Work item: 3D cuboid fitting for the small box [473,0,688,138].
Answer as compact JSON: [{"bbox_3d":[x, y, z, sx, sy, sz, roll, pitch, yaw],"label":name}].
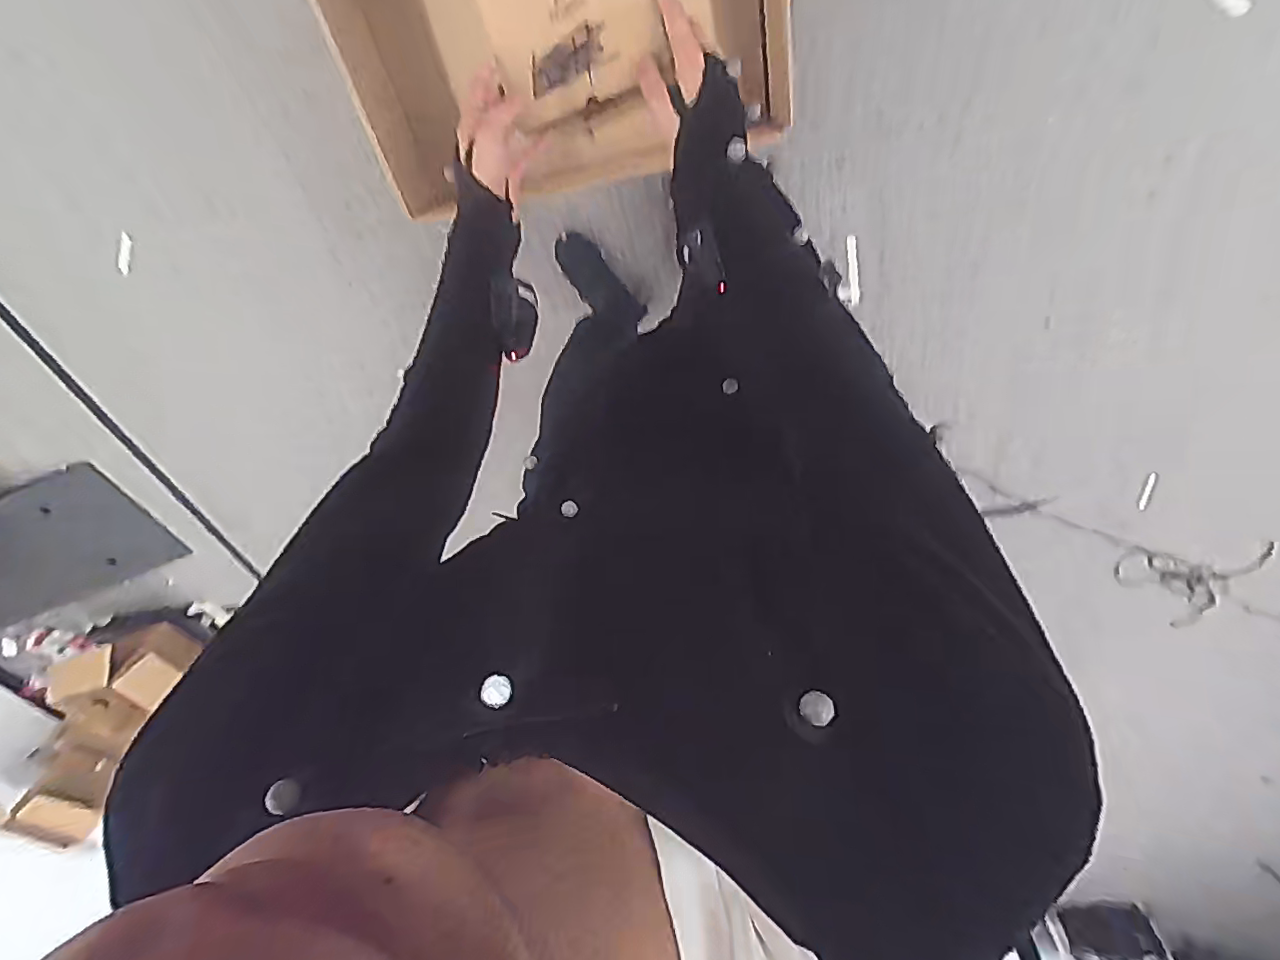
[{"bbox_3d":[-0.054,-0.477,0.555,0.168,0.176,0.179,-9,119,18],"label":"small box"}]
